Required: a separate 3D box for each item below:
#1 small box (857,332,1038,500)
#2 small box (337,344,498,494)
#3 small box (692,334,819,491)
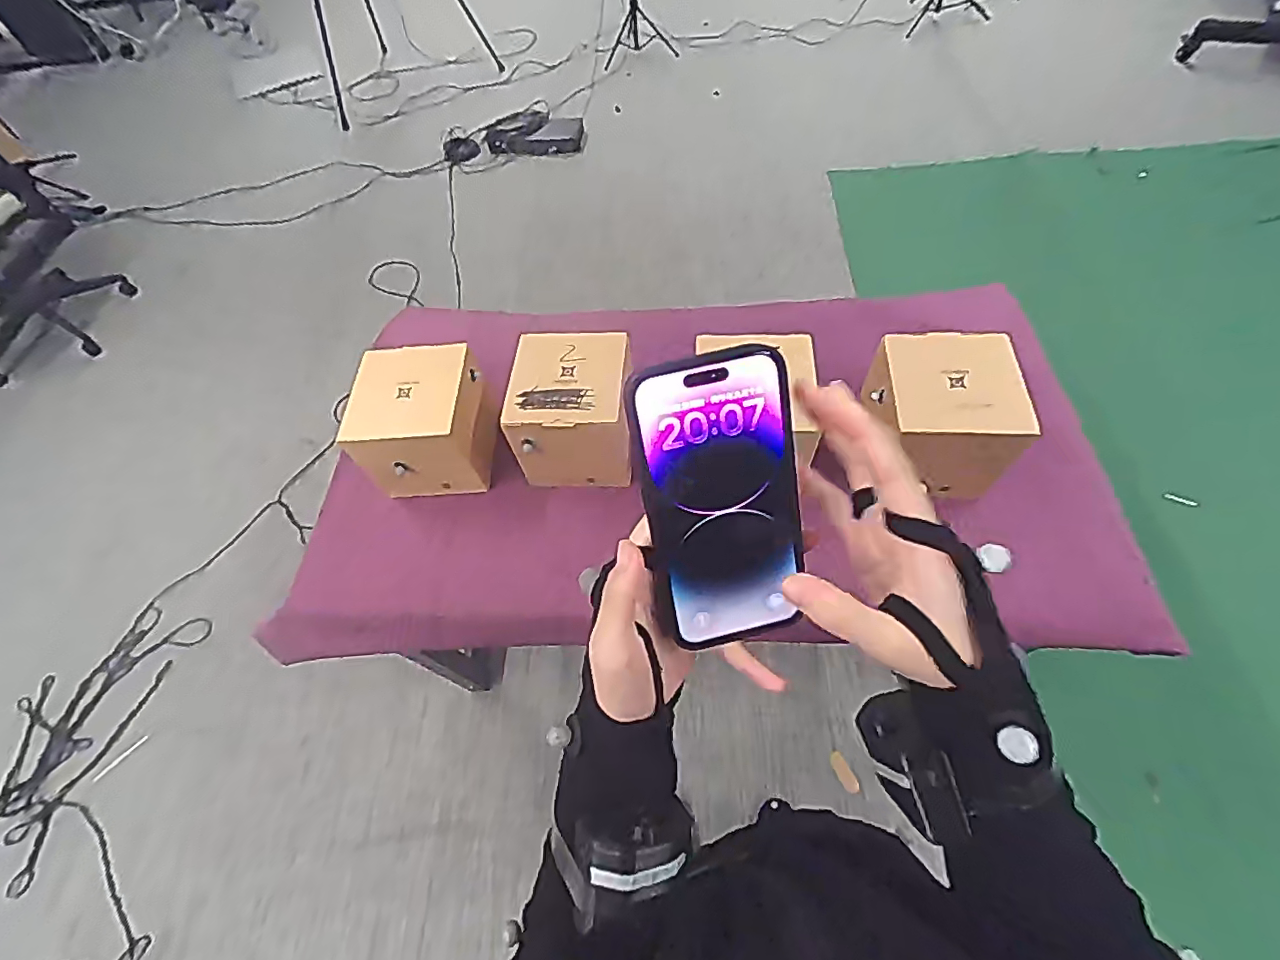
[{"bbox_3d":[0.423,-0.091,0.781,0.168,0.176,0.179,2,59,8],"label":"small box"},{"bbox_3d":[-0.335,-0.088,0.856,0.168,0.176,0.179,-4,58,4],"label":"small box"},{"bbox_3d":[0.164,-0.095,0.808,0.168,0.176,0.179,2,59,6],"label":"small box"}]
